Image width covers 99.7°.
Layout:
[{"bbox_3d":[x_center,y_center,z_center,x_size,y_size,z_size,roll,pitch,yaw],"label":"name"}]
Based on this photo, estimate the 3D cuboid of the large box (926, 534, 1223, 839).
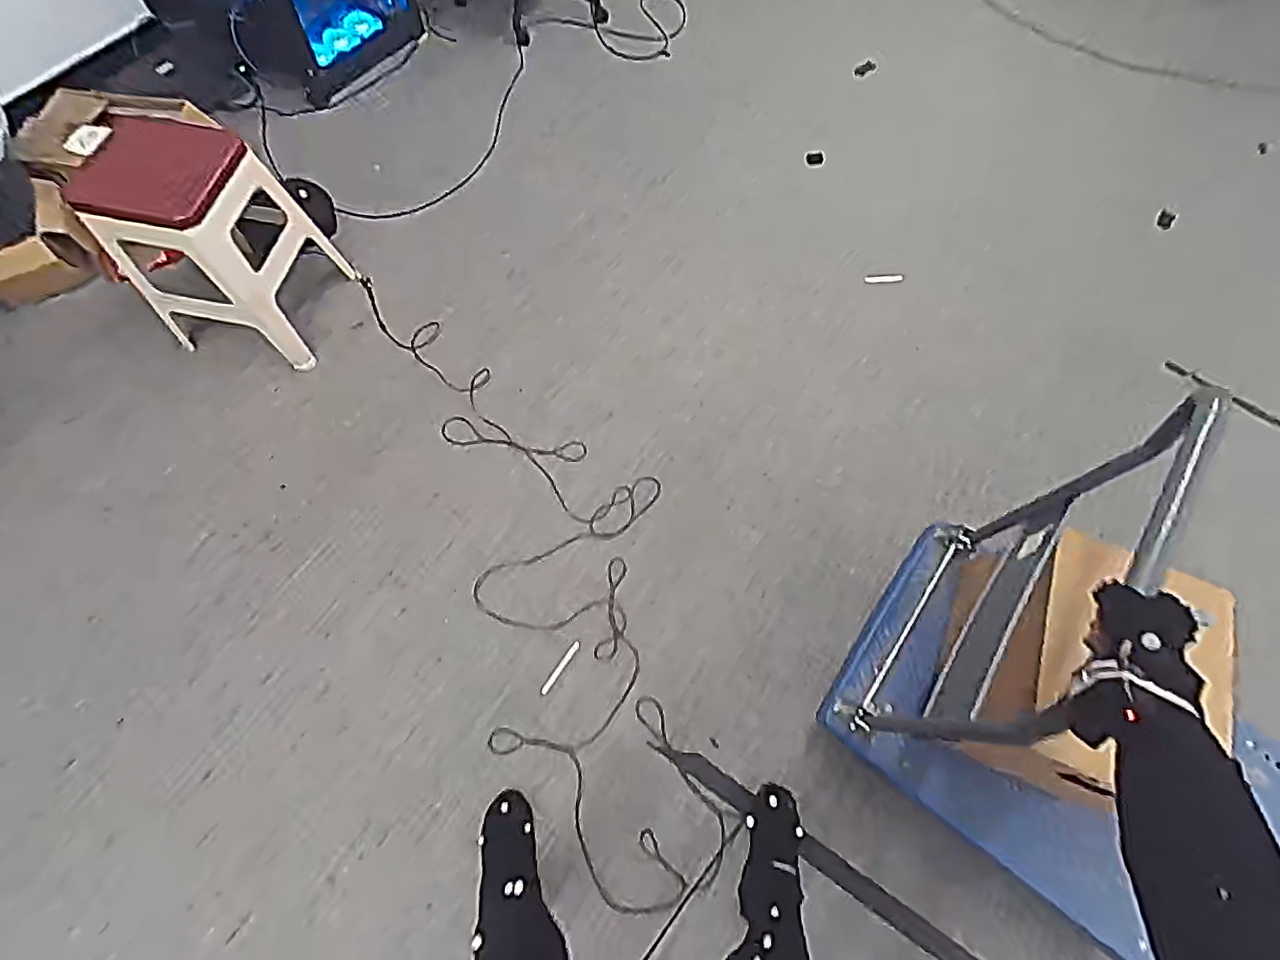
[{"bbox_3d":[0.813,0.374,1.044,0.320,0.320,0.408,23,69,6],"label":"large box"}]
